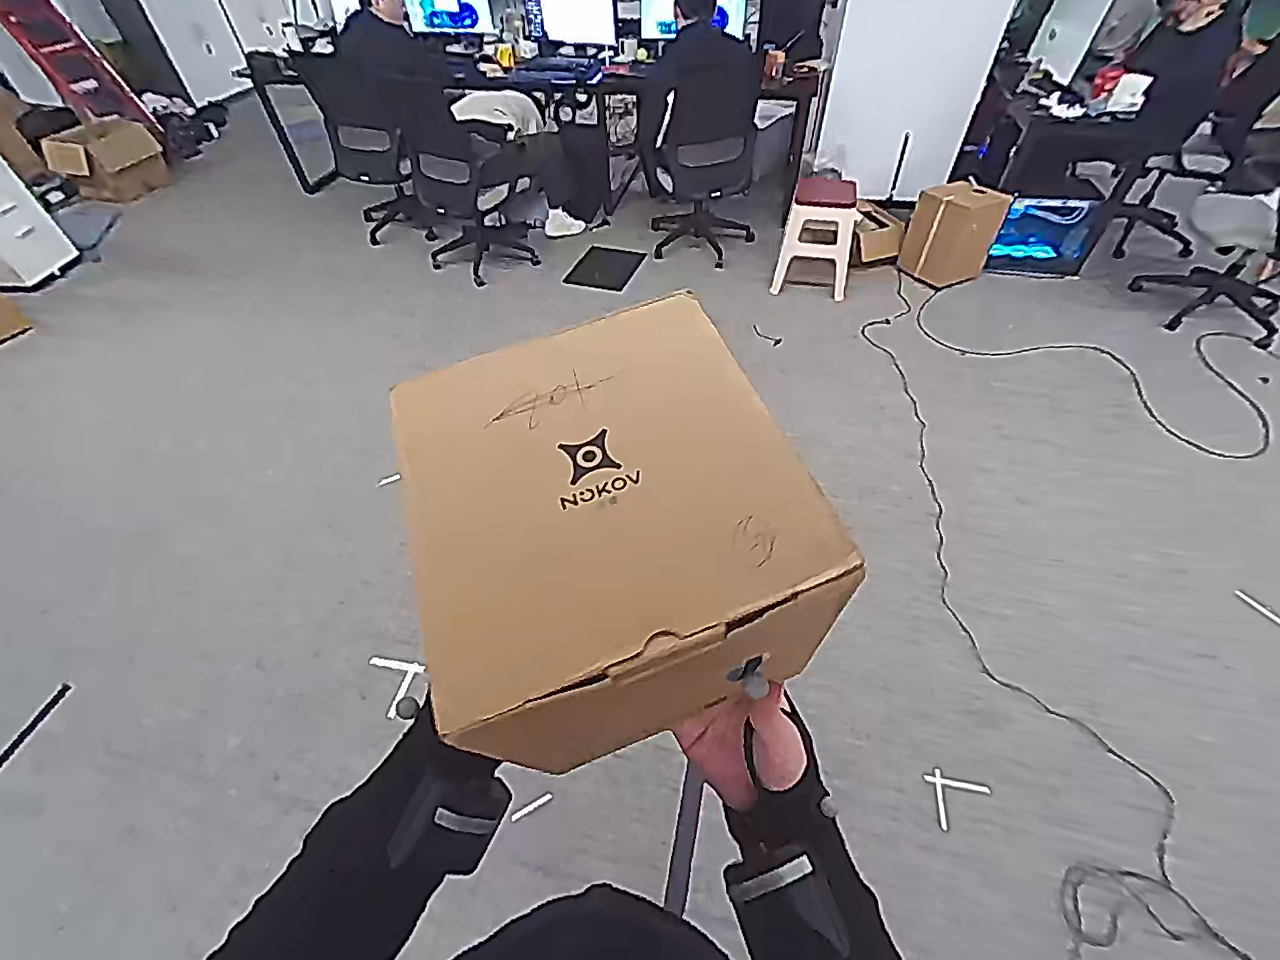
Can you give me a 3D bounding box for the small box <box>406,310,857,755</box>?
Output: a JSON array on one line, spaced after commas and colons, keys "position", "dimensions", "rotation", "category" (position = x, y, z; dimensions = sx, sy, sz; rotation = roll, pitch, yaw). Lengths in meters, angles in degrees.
[{"position": [-0.010, 0.041, 0.315], "dimensions": [0.168, 0.176, 0.179], "rotation": [-20, 57, -8], "category": "small box"}]
